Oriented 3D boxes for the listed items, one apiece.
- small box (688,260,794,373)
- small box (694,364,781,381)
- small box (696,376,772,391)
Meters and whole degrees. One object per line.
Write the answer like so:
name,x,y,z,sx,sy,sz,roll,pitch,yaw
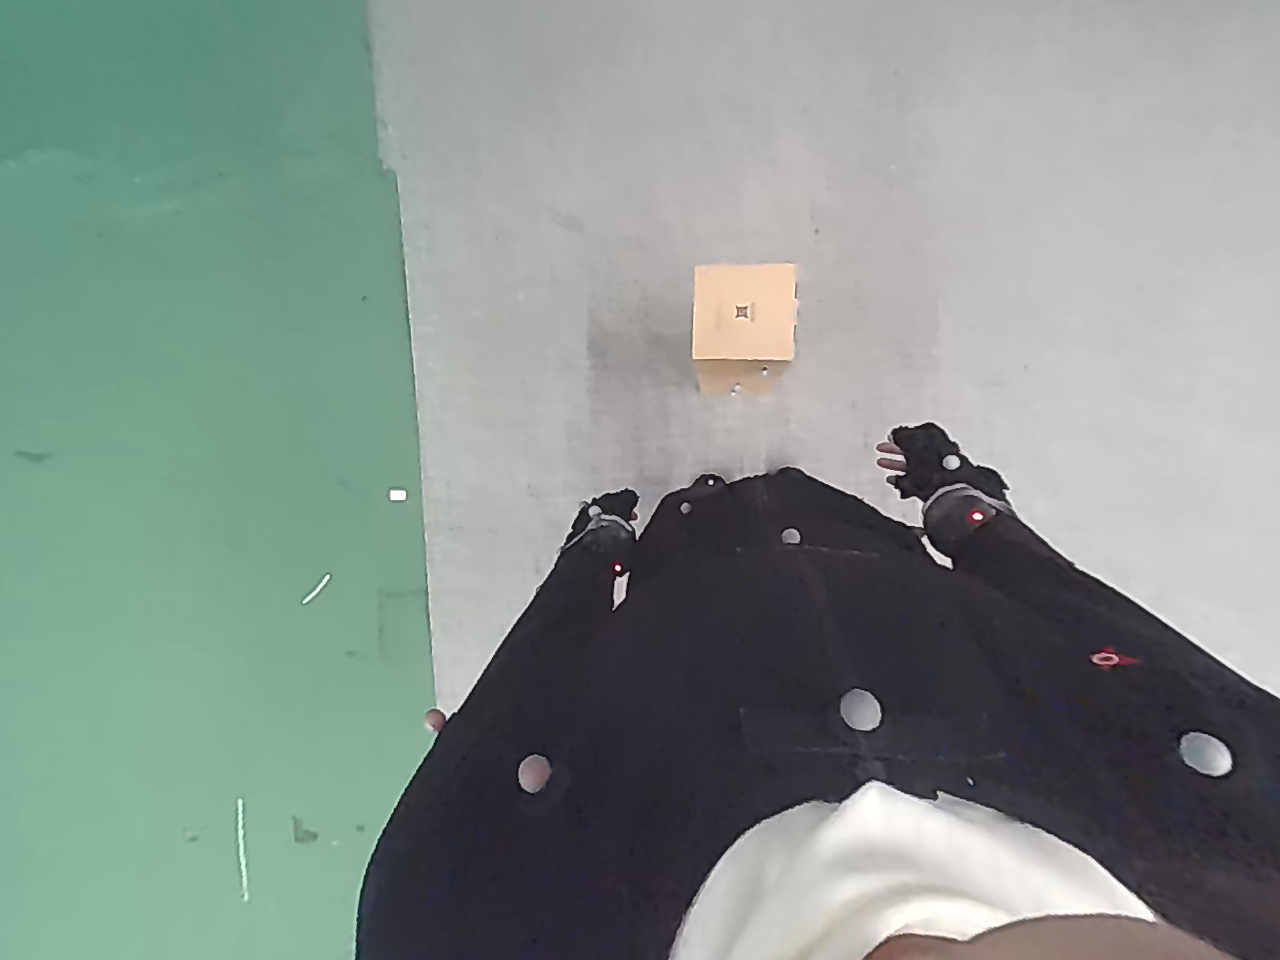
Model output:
small box,0.184,-0.297,1.007,0.179,0.176,0.168,2,91,9
small box,0.208,-0.306,1.170,0.179,0.176,0.168,0,94,9
small box,0.231,-0.314,1.329,0.179,0.176,0.168,2,92,9
